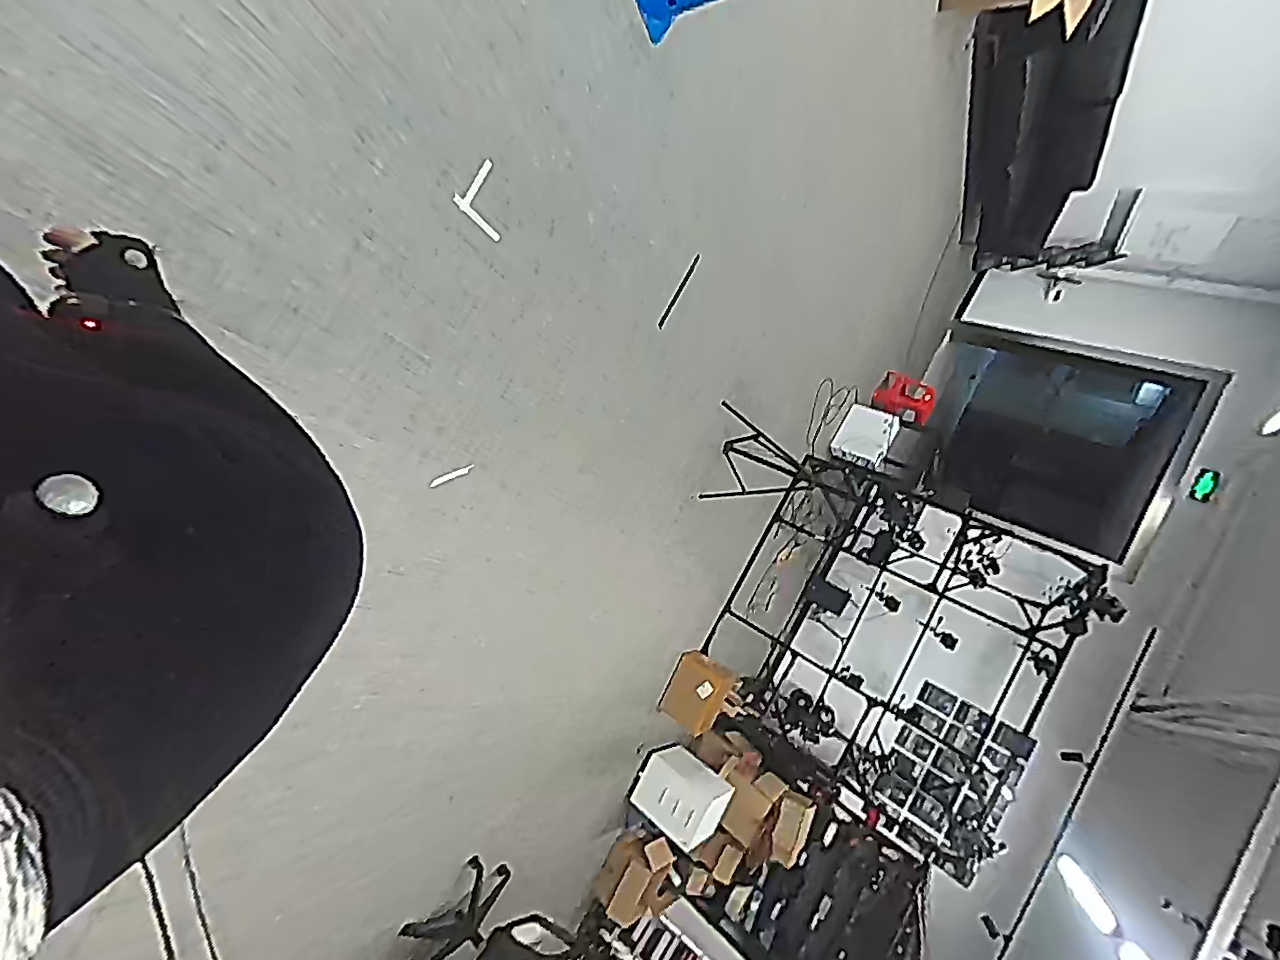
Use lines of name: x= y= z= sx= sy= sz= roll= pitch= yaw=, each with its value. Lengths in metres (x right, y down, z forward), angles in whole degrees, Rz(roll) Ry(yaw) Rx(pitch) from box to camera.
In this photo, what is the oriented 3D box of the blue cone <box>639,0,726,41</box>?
blue cone: x=0.183 y=-1.450 z=1.587 sx=0.192 sy=0.380 sz=0.193 roll=-58 pitch=146 yaw=-7
